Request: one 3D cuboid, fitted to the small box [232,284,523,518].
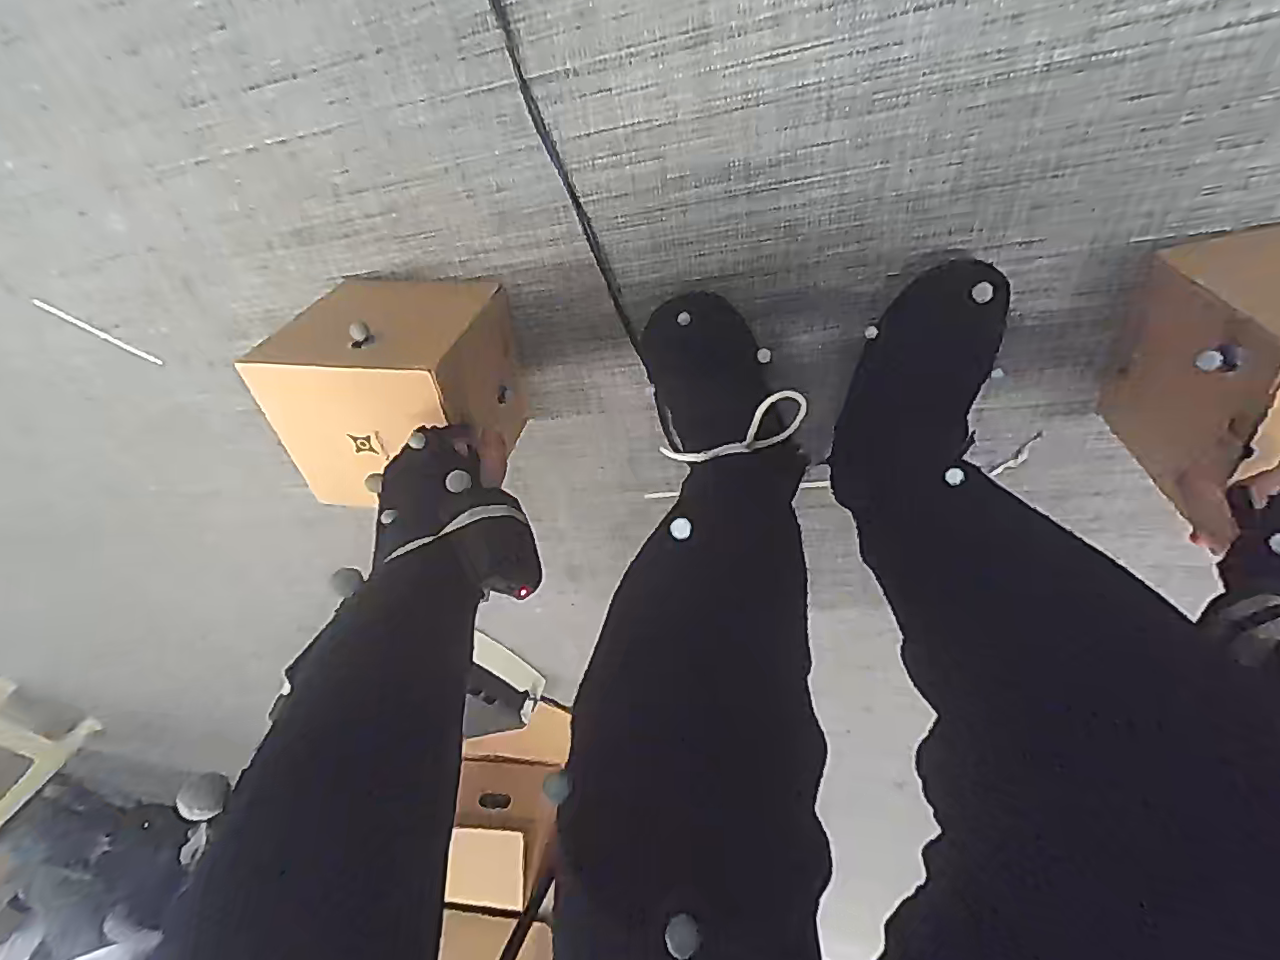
[{"bbox_3d":[-0.236,-0.083,0.540,0.179,0.176,0.168,3,133,7],"label":"small box"}]
